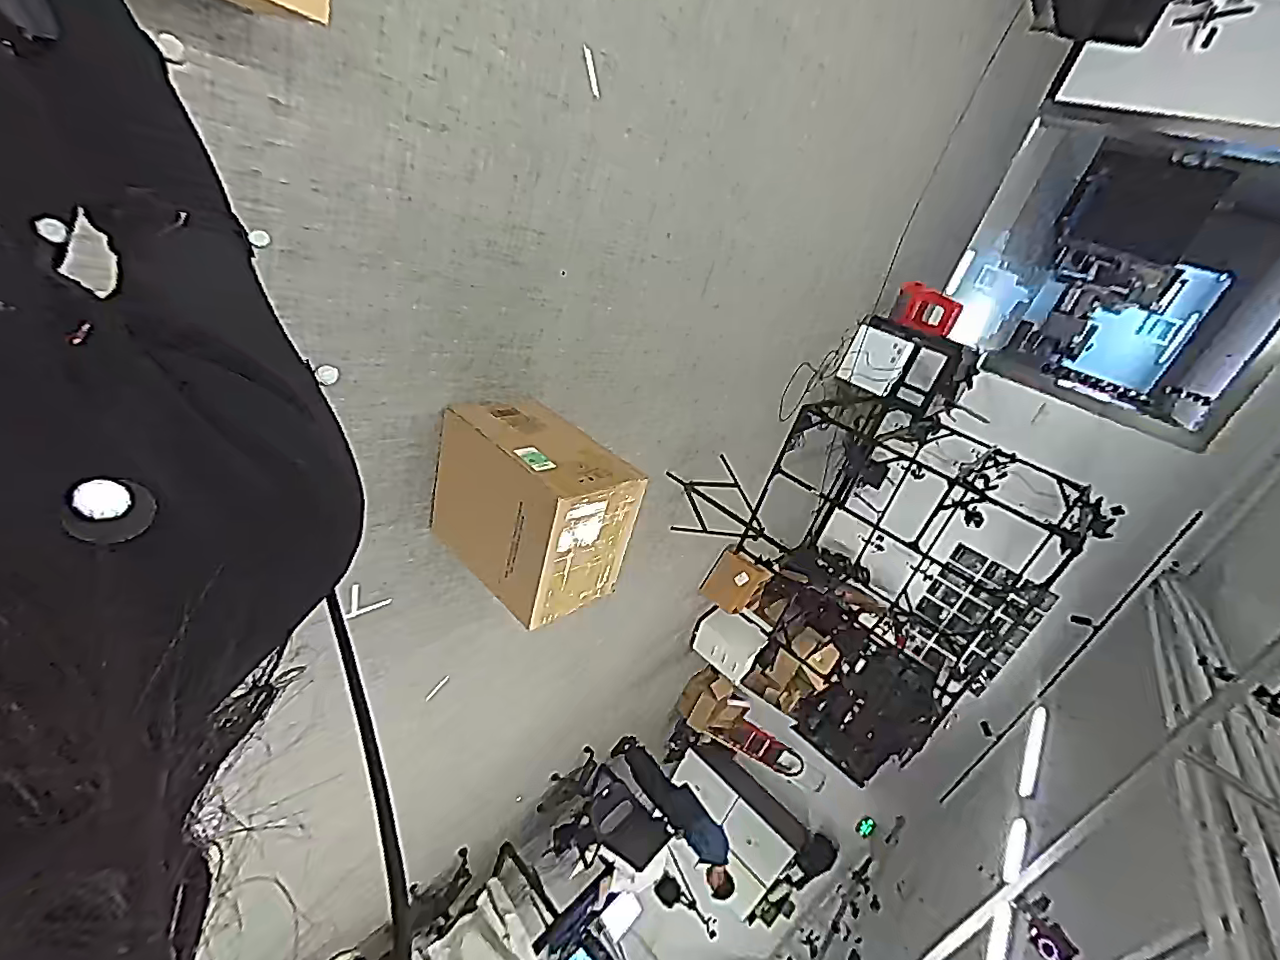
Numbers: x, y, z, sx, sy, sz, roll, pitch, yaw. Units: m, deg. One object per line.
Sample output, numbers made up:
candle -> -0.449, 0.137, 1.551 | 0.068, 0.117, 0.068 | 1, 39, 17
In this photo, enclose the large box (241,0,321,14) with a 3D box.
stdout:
large box -> -0.729, -0.949, 0.765 | 0.408, 0.320, 0.320 | -16, 133, -51
